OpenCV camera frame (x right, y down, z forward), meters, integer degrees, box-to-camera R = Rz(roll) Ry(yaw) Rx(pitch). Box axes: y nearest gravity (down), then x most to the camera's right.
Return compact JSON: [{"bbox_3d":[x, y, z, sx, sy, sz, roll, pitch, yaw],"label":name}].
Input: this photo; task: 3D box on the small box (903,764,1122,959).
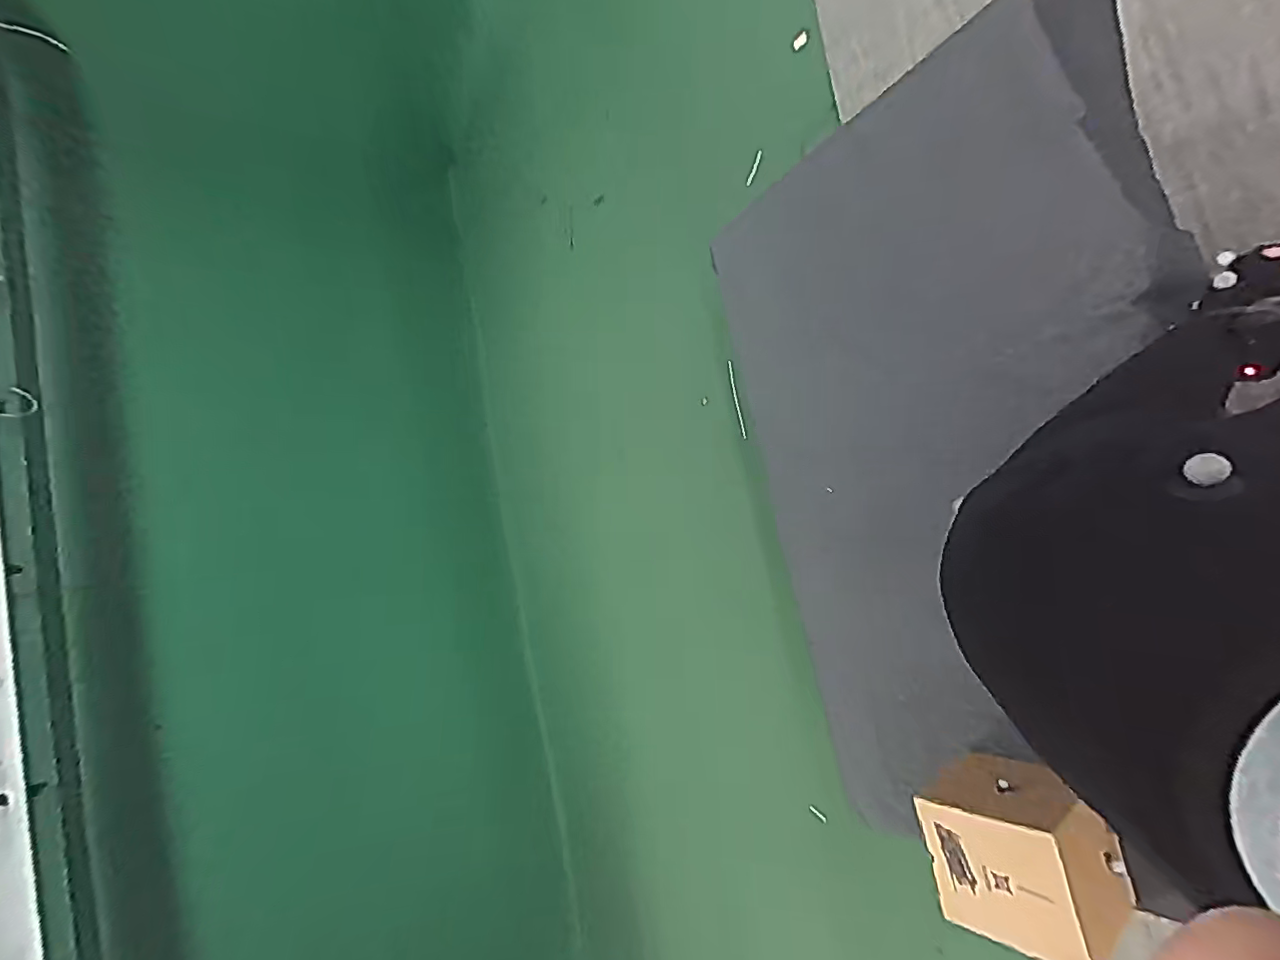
[{"bbox_3d":[0.496,0.508,0.727,0.179,0.176,0.168,-21,79,53],"label":"small box"}]
